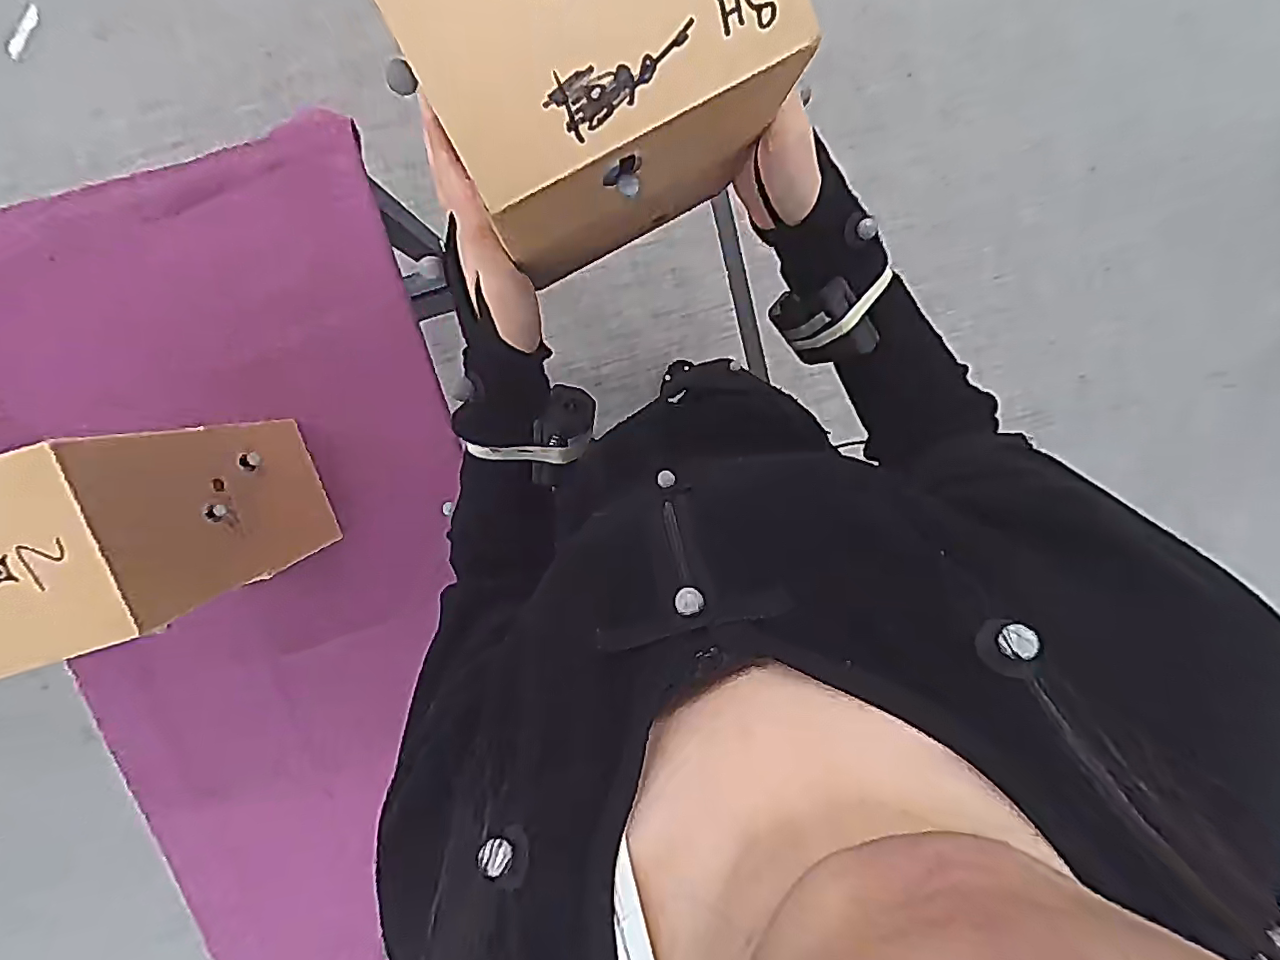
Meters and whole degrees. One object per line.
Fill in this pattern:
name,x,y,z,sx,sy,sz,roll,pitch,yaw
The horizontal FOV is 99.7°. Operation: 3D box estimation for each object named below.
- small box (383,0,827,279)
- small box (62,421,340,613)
small box,-0.037,-0.241,0.295,0.168,0.176,0.179,-28,99,-1
small box,-0.511,0.032,0.661,0.168,0.176,0.179,-17,100,1
